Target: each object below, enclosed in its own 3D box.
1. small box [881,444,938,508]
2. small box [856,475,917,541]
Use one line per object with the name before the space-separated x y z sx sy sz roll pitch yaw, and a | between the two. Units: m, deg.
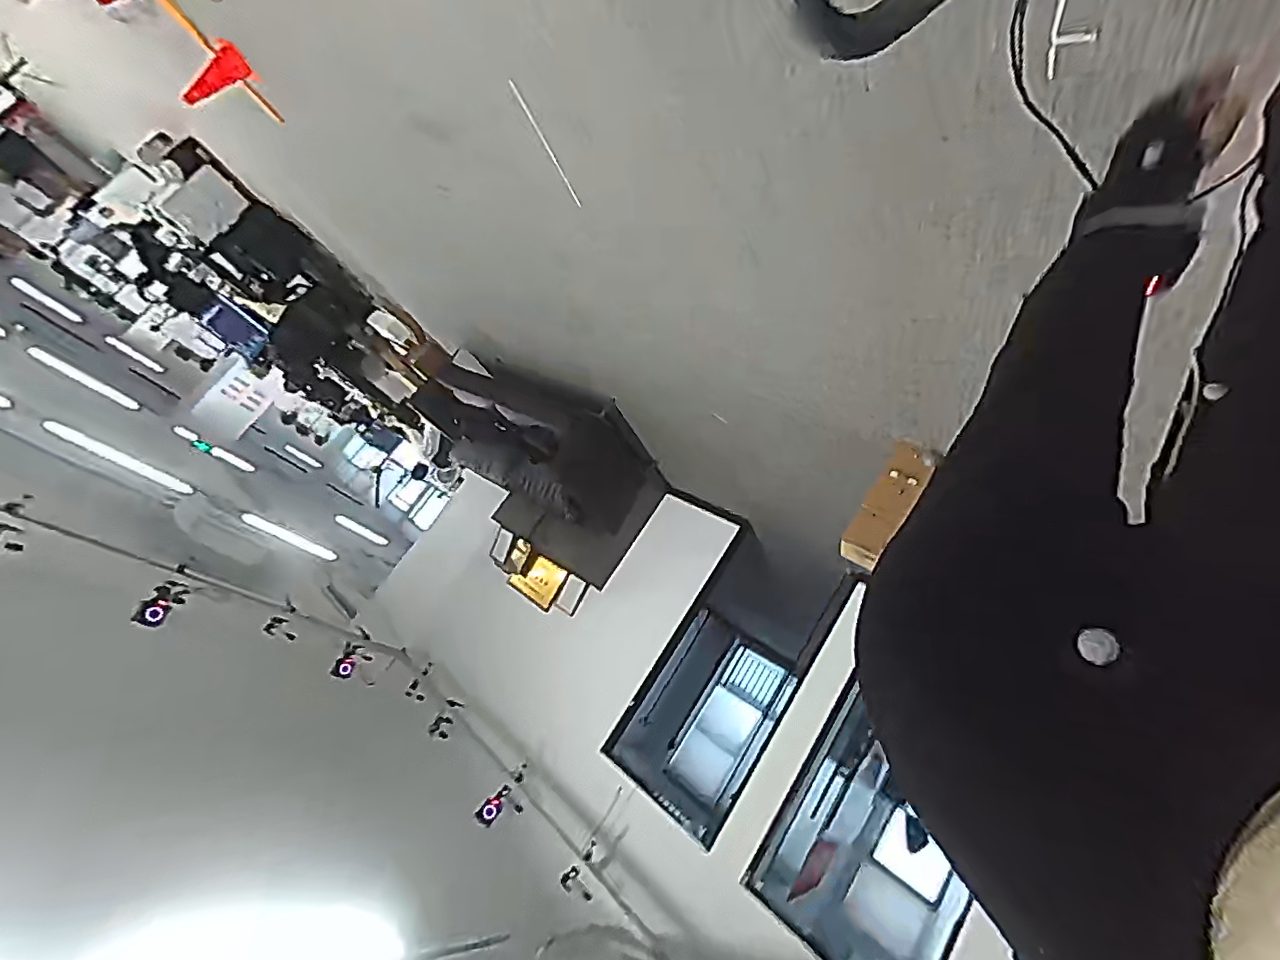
small box | 1.078 -0.016 2.192 0.168 0.176 0.179 26 162 24
small box | 0.984 0.110 2.160 0.168 0.176 0.179 28 164 31
